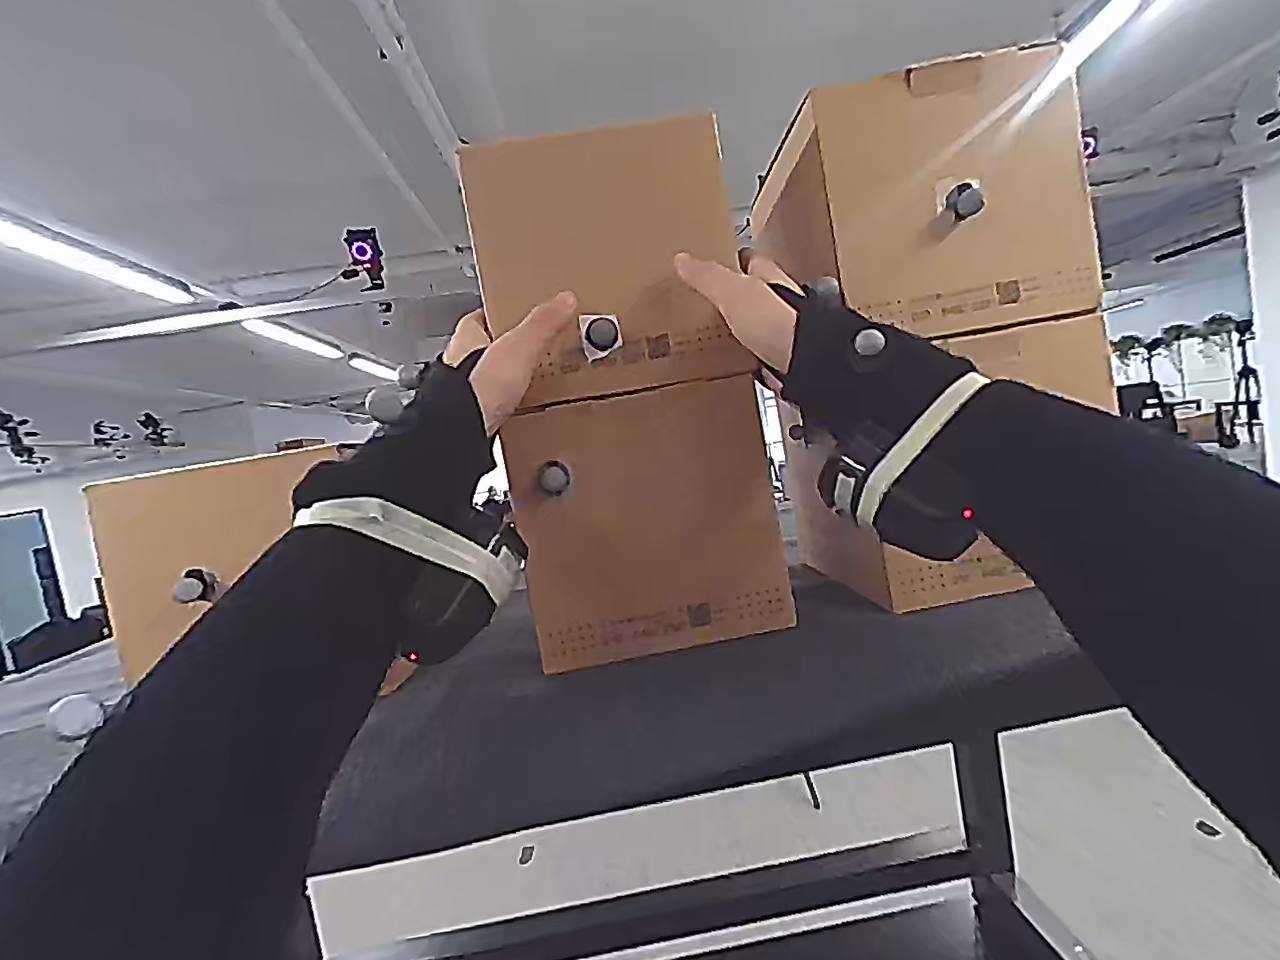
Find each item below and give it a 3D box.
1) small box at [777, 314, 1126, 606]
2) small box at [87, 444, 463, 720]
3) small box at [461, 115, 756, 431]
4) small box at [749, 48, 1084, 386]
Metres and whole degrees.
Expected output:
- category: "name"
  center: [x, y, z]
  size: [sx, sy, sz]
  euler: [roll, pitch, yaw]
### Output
- category: "small box"
  center: [0.221, -0.012, 0.425]
  size: [0.168, 0.176, 0.179]
  euler: [-11, 3, -1]
- category: "small box"
  center: [-0.252, 0.071, 0.424]
  size: [0.168, 0.176, 0.179]
  euler: [-9, 2, 0]
- category: "small box"
  center: [-0.022, -0.135, 0.420]
  size: [0.168, 0.176, 0.179]
  euler: [-11, 2, -3]
- category: "small box"
  center: [0.195, -0.175, 0.419]
  size: [0.168, 0.176, 0.179]
  euler: [-9, 3, -1]
